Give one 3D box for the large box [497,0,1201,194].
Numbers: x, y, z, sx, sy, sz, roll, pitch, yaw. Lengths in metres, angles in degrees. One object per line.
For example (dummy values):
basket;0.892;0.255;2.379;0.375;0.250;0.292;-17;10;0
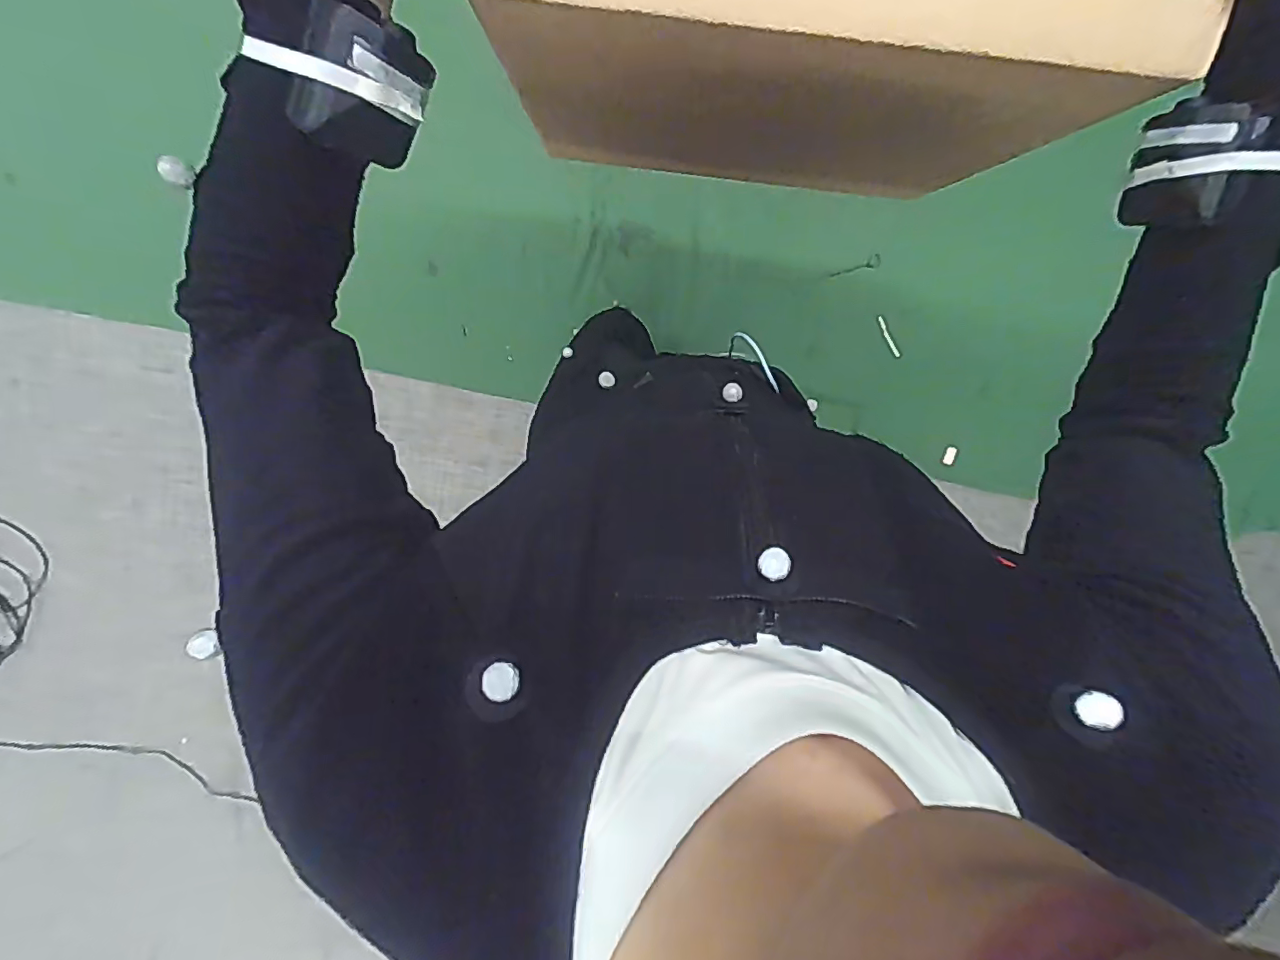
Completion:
large box;0.119;-0.432;0.403;0.408;0.320;0.320;4;106;-4
